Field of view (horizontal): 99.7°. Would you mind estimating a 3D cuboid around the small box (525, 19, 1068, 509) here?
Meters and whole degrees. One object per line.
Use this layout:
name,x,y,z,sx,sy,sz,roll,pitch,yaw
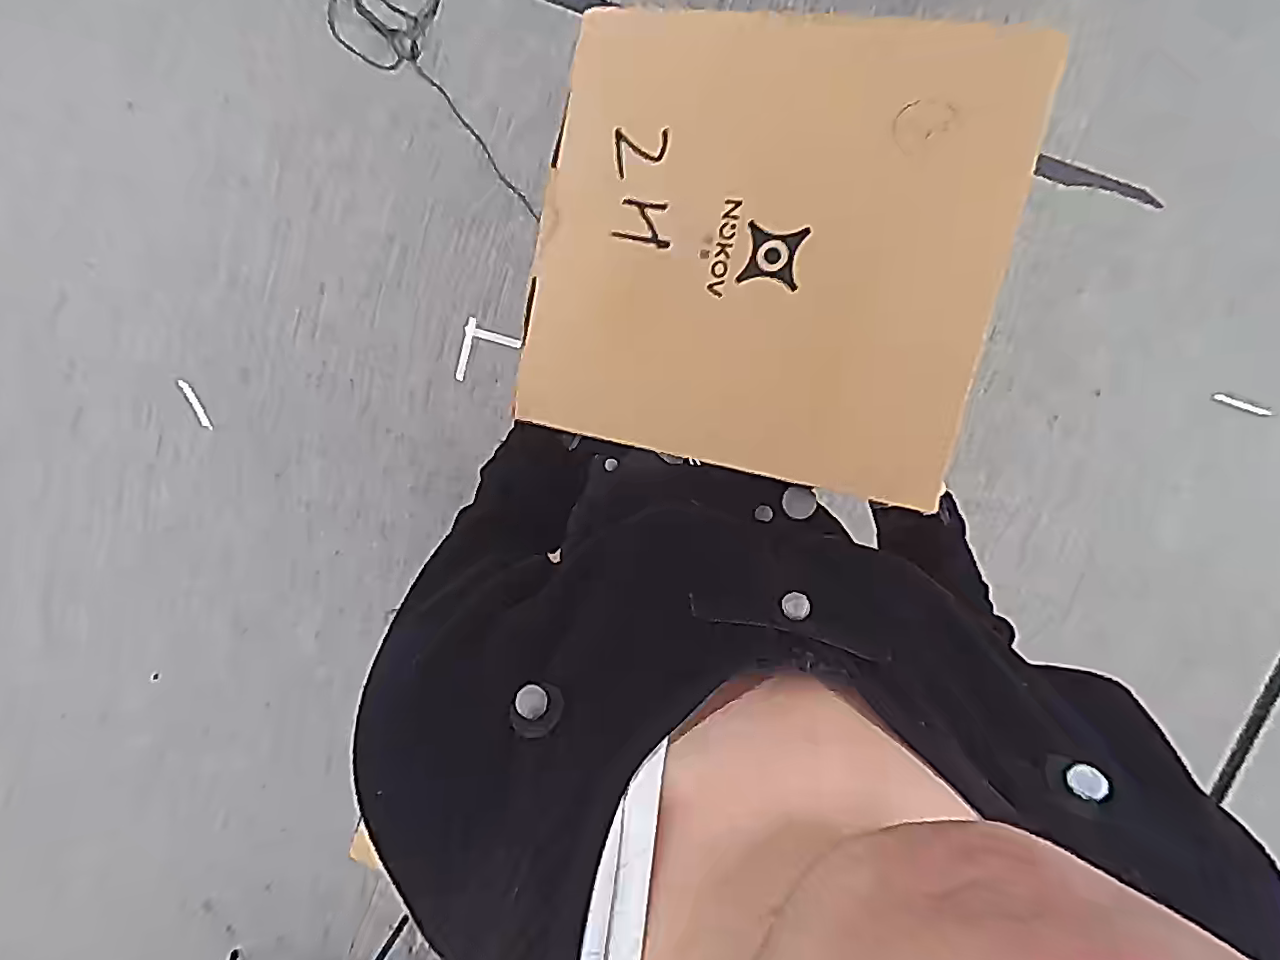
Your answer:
small box,0.066,-0.092,0.287,0.179,0.176,0.168,13,97,13
